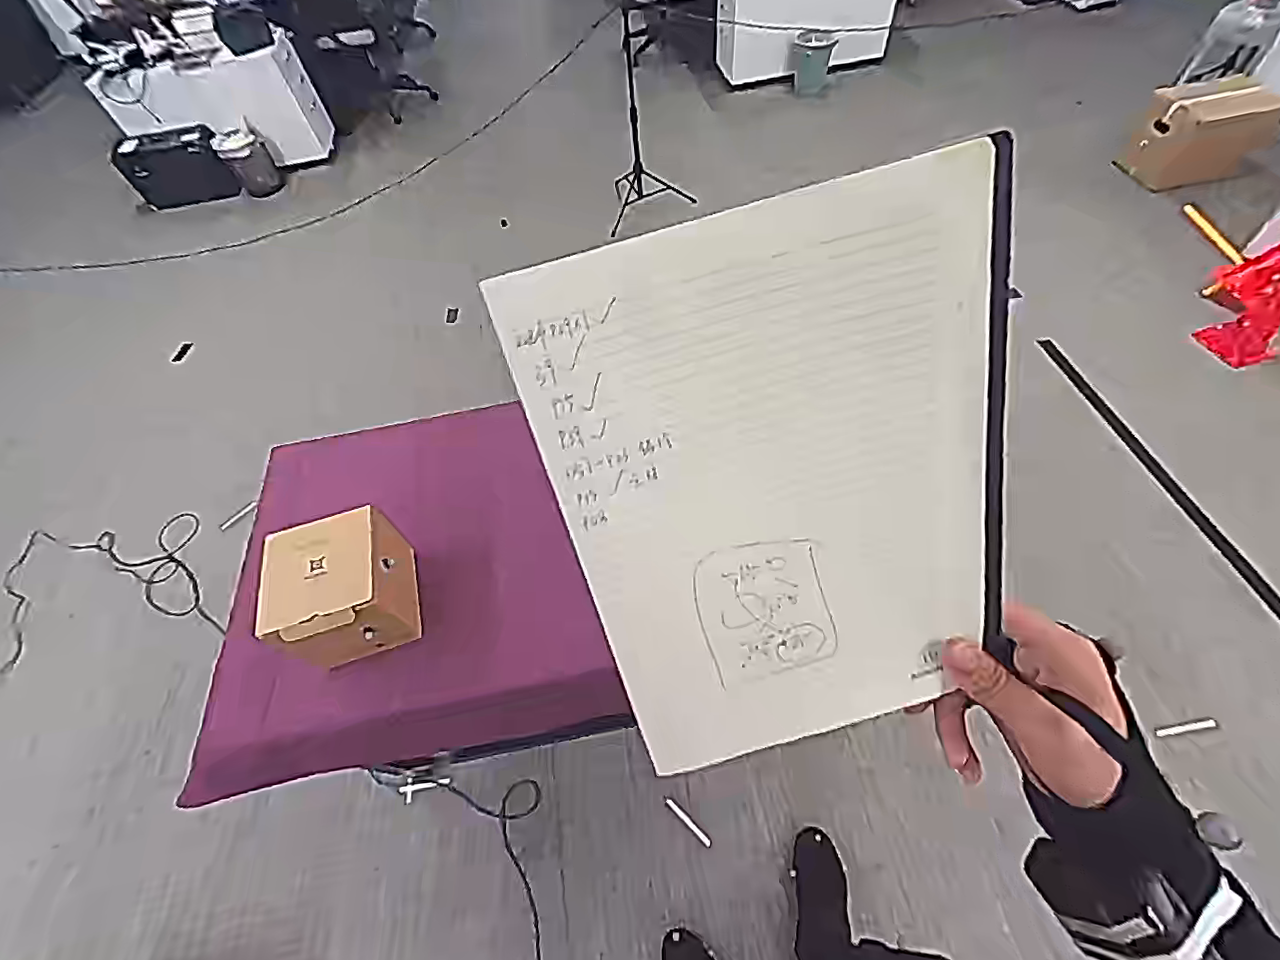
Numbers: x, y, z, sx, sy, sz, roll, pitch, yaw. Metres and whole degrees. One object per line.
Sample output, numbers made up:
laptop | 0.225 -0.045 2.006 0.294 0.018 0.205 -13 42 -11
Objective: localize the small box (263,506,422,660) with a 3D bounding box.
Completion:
small box | -0.470 0.176 0.877 0.168 0.176 0.179 -17 56 -6
